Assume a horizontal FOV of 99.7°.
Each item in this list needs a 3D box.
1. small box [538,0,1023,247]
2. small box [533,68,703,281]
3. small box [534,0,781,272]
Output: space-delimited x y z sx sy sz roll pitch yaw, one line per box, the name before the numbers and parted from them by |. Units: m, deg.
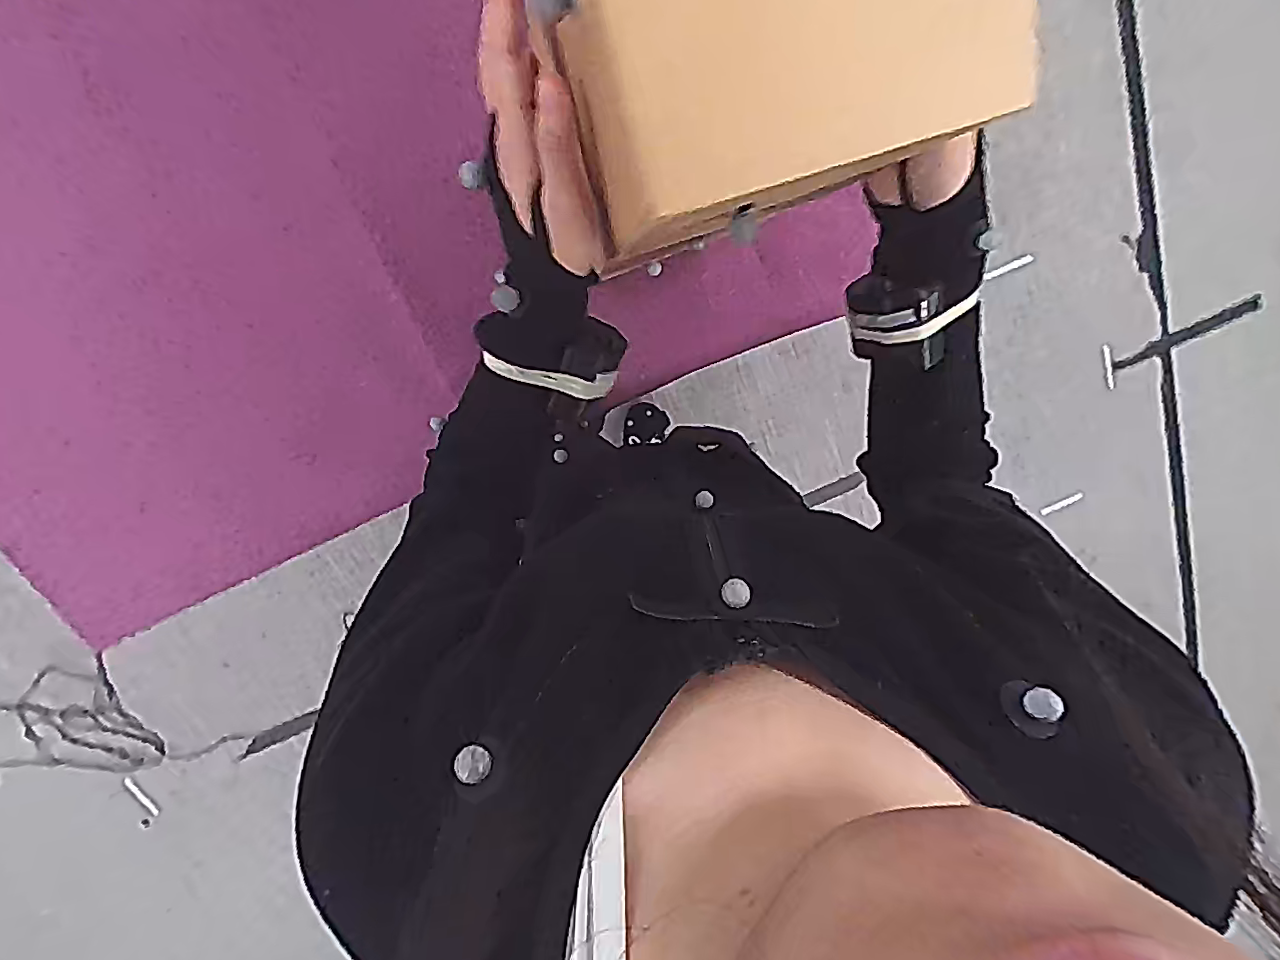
small box | 0.044 -0.226 0.265 0.168 0.176 0.179 -17 107 -2
small box | -0.005 -0.327 0.573 0.168 0.176 0.179 -21 108 -2
small box | 0.021 -0.279 0.419 0.168 0.176 0.179 -19 108 -2
